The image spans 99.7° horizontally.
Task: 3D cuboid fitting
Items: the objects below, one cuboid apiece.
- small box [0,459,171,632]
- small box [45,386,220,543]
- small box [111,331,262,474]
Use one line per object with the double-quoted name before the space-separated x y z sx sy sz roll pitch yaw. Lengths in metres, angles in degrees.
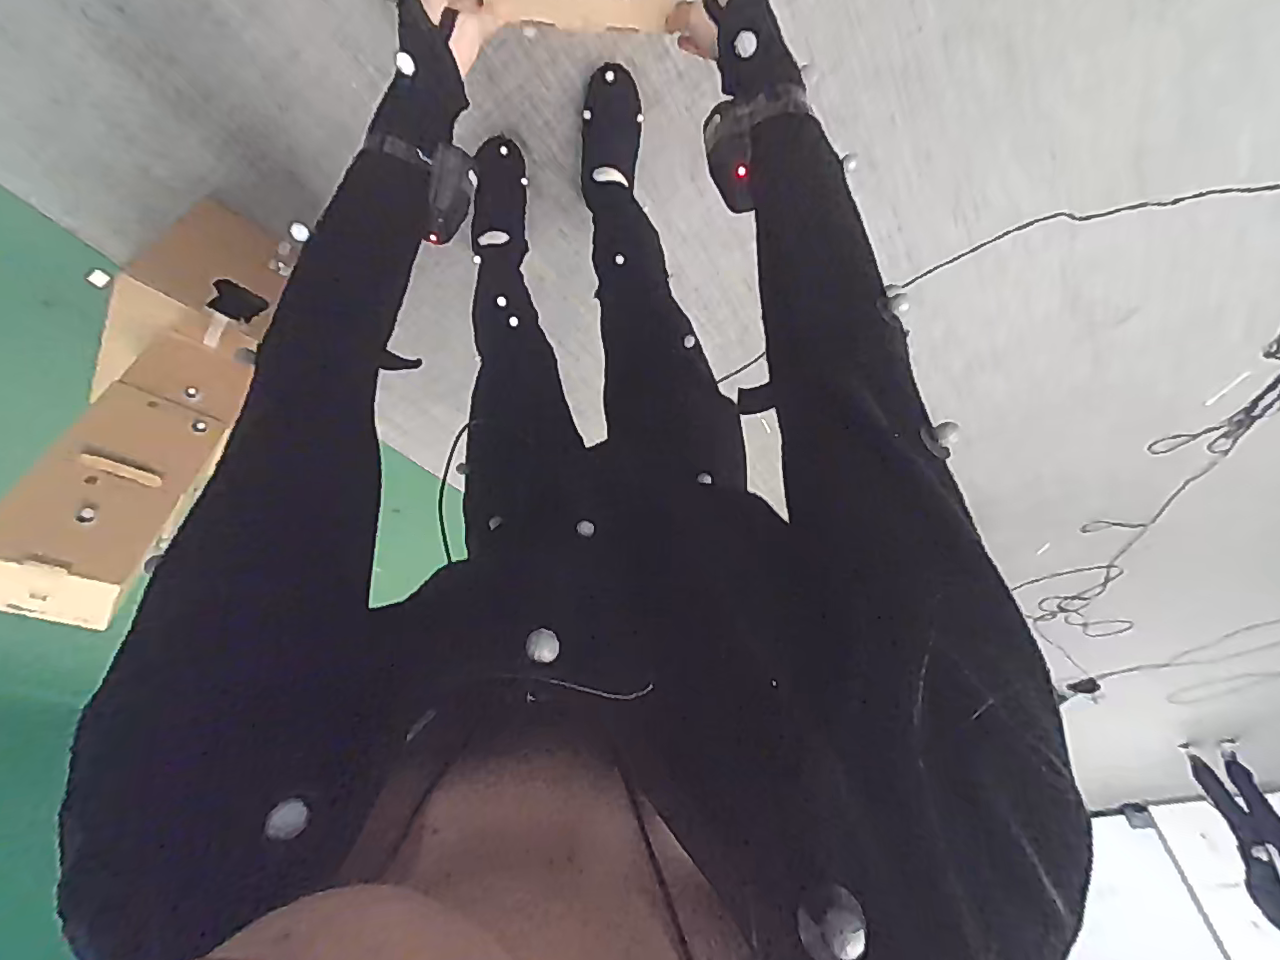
"small box" -0.851 0.099 0.809 0.168 0.176 0.179 30 128 -32
"small box" -0.854 -0.026 0.916 0.168 0.176 0.179 29 130 -32
"small box" -0.861 -0.147 1.026 0.179 0.176 0.168 30 129 -32
